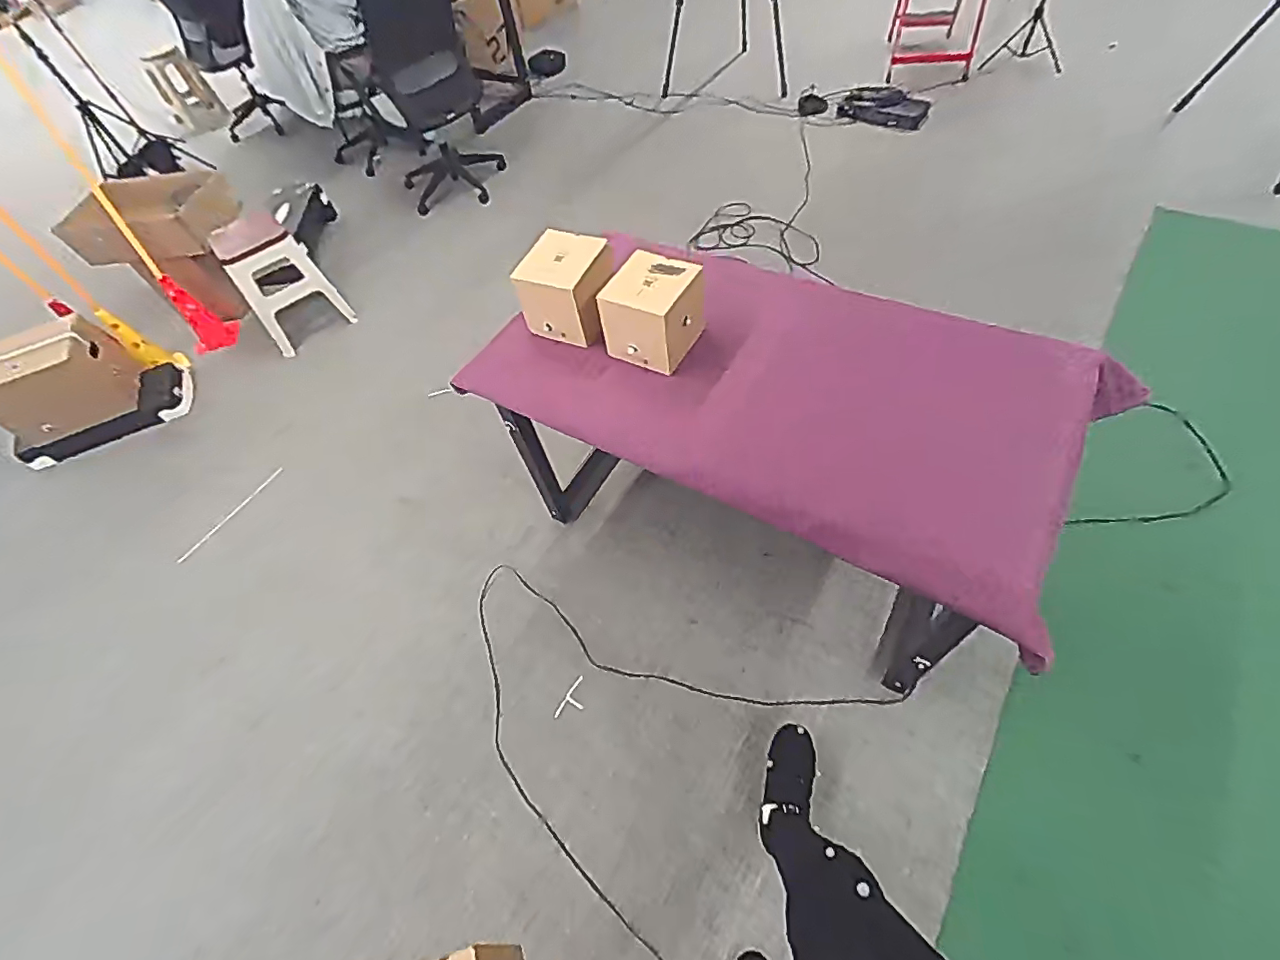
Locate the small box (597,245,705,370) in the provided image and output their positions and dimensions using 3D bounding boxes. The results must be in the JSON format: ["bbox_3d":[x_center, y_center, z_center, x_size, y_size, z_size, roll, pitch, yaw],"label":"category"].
[{"bbox_3d":[0.032,-0.376,1.185,0.168,0.176,0.179,23,64,23],"label":"small box"}]

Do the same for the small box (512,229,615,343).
[{"bbox_3d":[-0.165,-0.454,1.268,0.168,0.176,0.179,19,62,21],"label":"small box"}]
